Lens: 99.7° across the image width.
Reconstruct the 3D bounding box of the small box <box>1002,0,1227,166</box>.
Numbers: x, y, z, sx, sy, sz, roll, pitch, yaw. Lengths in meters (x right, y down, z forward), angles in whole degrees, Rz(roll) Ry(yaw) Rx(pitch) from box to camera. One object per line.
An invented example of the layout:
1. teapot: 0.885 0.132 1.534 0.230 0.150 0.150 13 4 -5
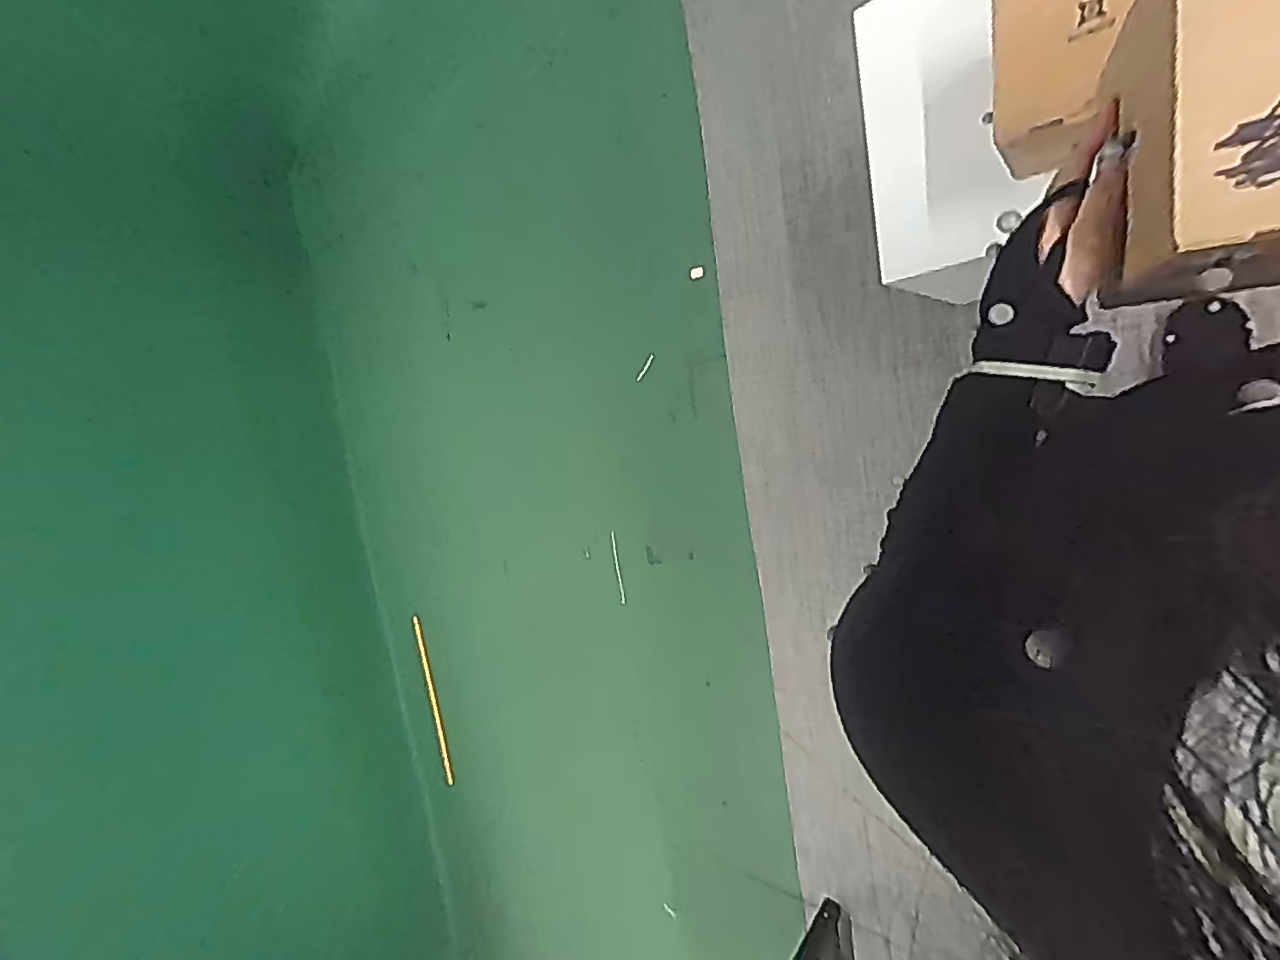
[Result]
1. small box: 0.497 -0.473 0.578 0.168 0.176 0.179 -1 100 42
